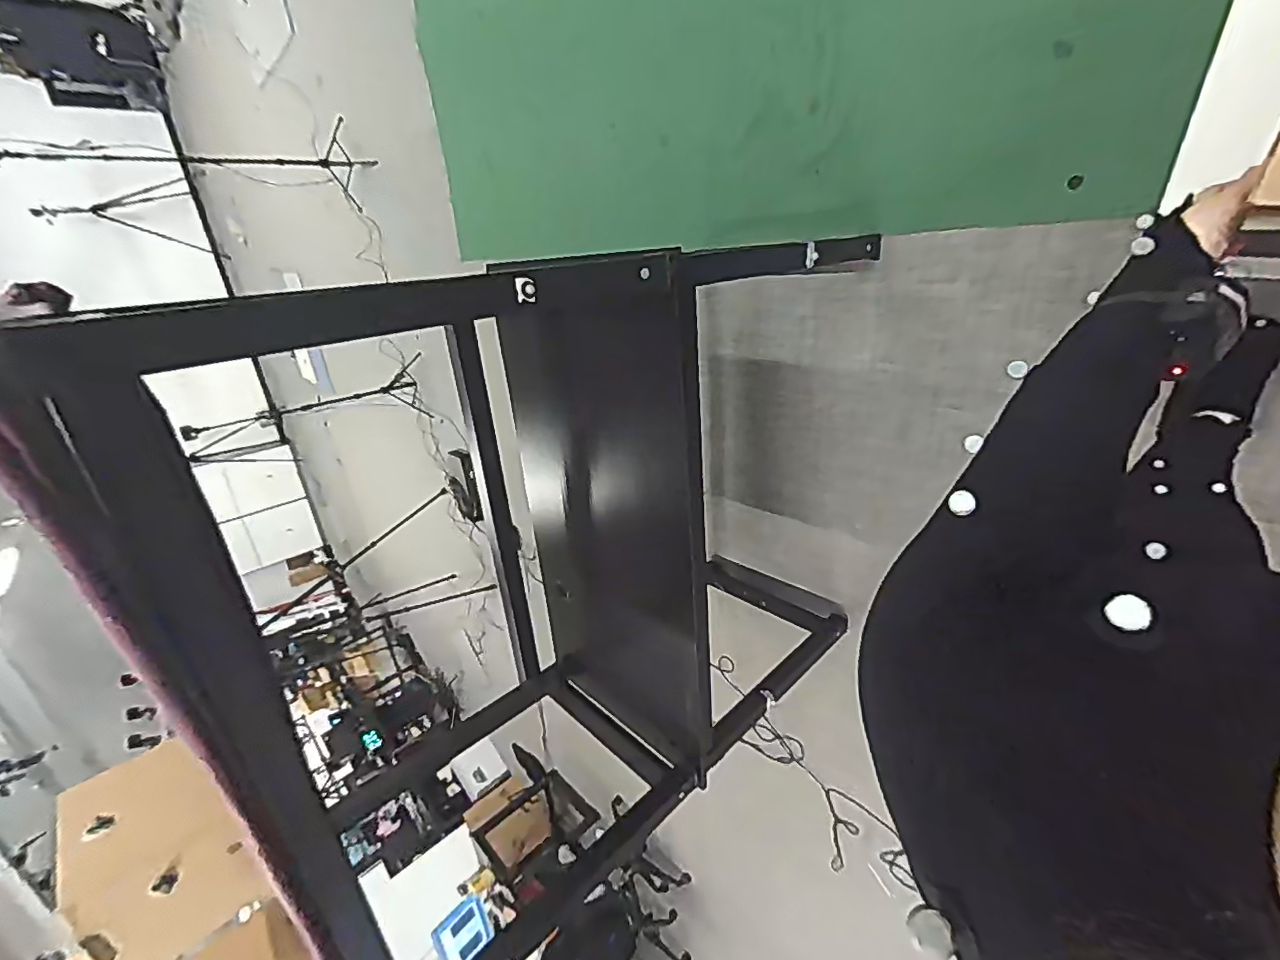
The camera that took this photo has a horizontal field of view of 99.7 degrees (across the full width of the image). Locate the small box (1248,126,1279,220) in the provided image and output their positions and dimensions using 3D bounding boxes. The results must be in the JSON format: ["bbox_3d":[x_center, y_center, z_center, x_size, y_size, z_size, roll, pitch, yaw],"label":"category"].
[{"bbox_3d":[0.556,-0.261,0.350,0.179,0.176,0.168,26,123,39],"label":"small box"}]

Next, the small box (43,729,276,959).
[{"bbox_3d":[-0.580,0.453,0.671,0.179,0.176,0.168,23,124,43],"label":"small box"}]
